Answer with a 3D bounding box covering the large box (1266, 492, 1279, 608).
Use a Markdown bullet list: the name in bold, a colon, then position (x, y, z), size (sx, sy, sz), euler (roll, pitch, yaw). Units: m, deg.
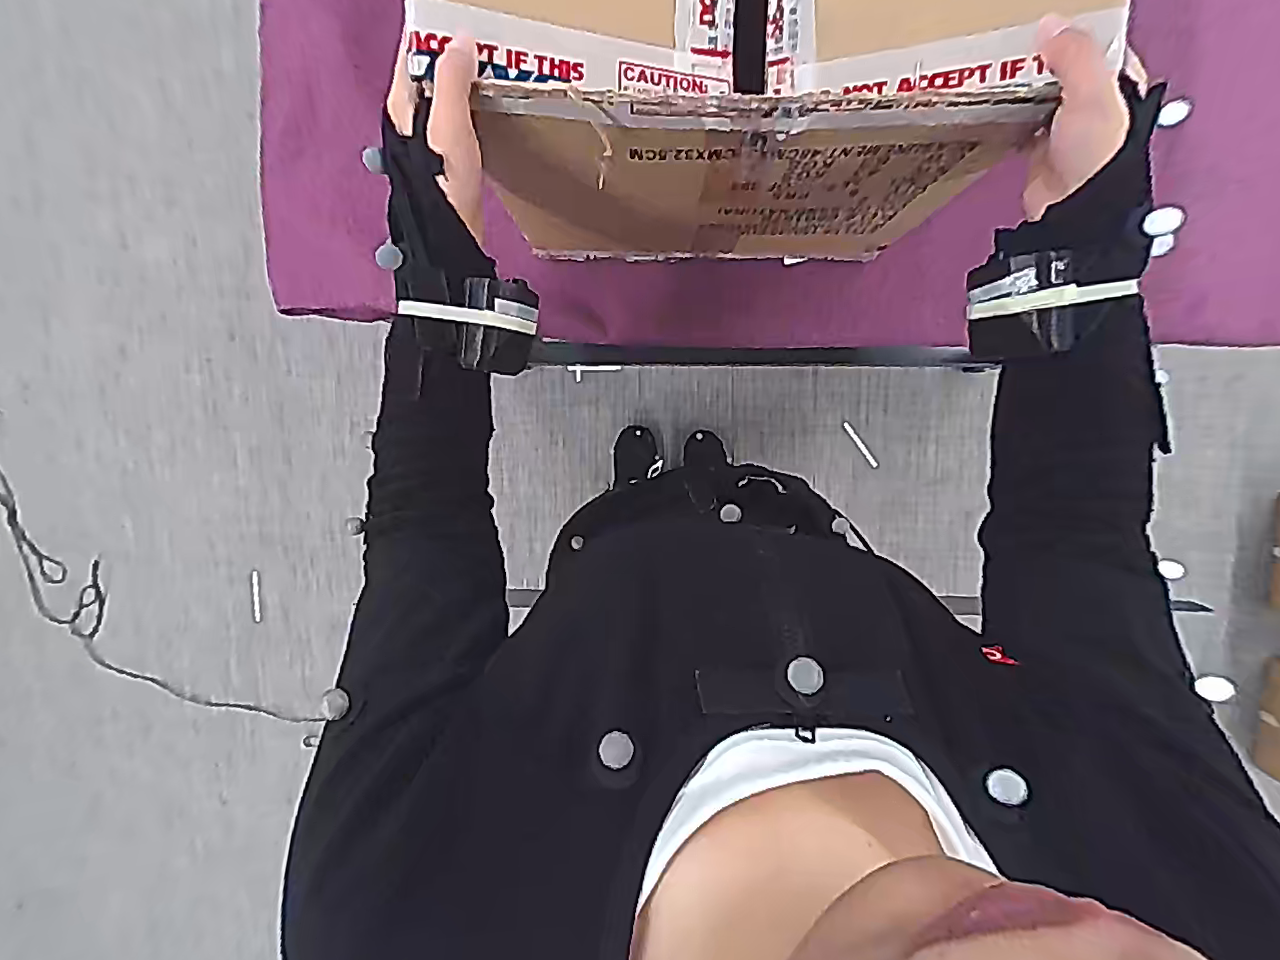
- **large box**: position (1.786, 0.182, 1.208), size (0.408, 0.320, 0.320), euler (-1, 95, 2)
